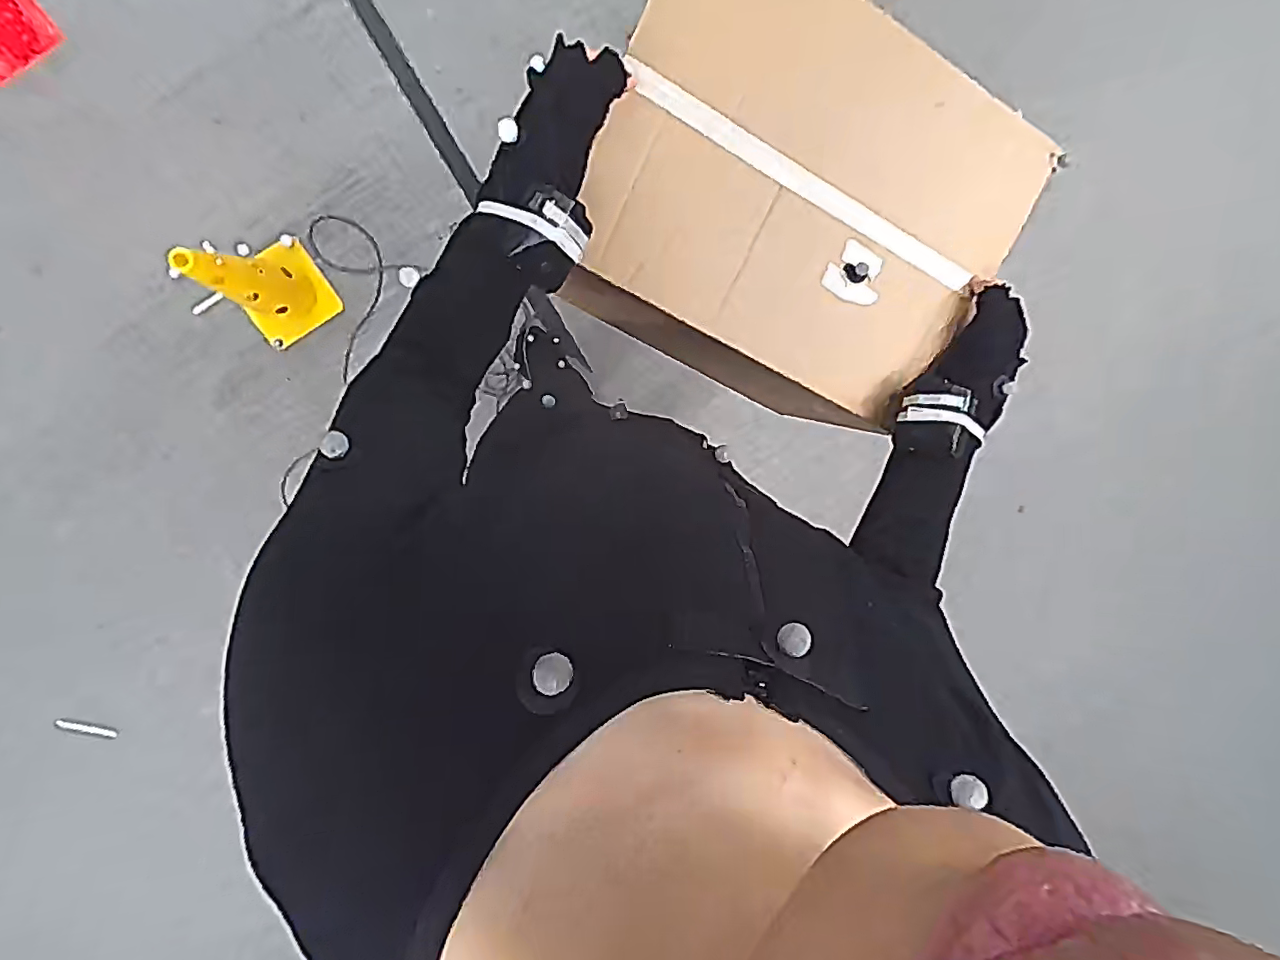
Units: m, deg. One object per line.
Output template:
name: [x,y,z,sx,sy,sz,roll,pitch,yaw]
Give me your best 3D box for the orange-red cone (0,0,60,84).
orange-red cone: [-1.343,-0.940,0.974,0.198,0.360,0.199,-34,103,1]
